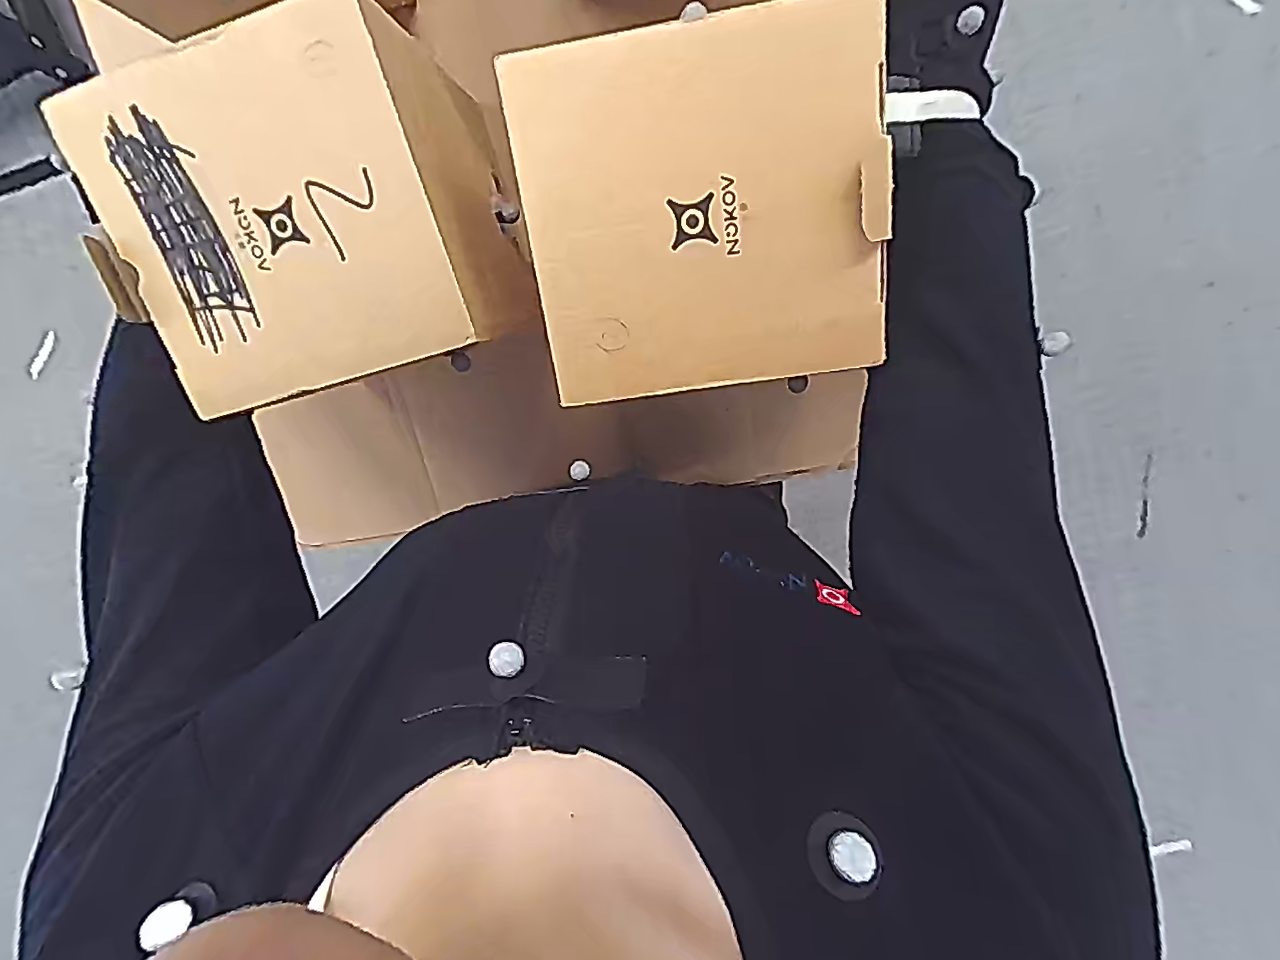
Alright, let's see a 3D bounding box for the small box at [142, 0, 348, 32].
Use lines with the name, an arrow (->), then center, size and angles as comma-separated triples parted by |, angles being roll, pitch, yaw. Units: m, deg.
small box -> -0.264, -0.390, 0.294 | 0.168, 0.176, 0.179 | -10, 104, 7
